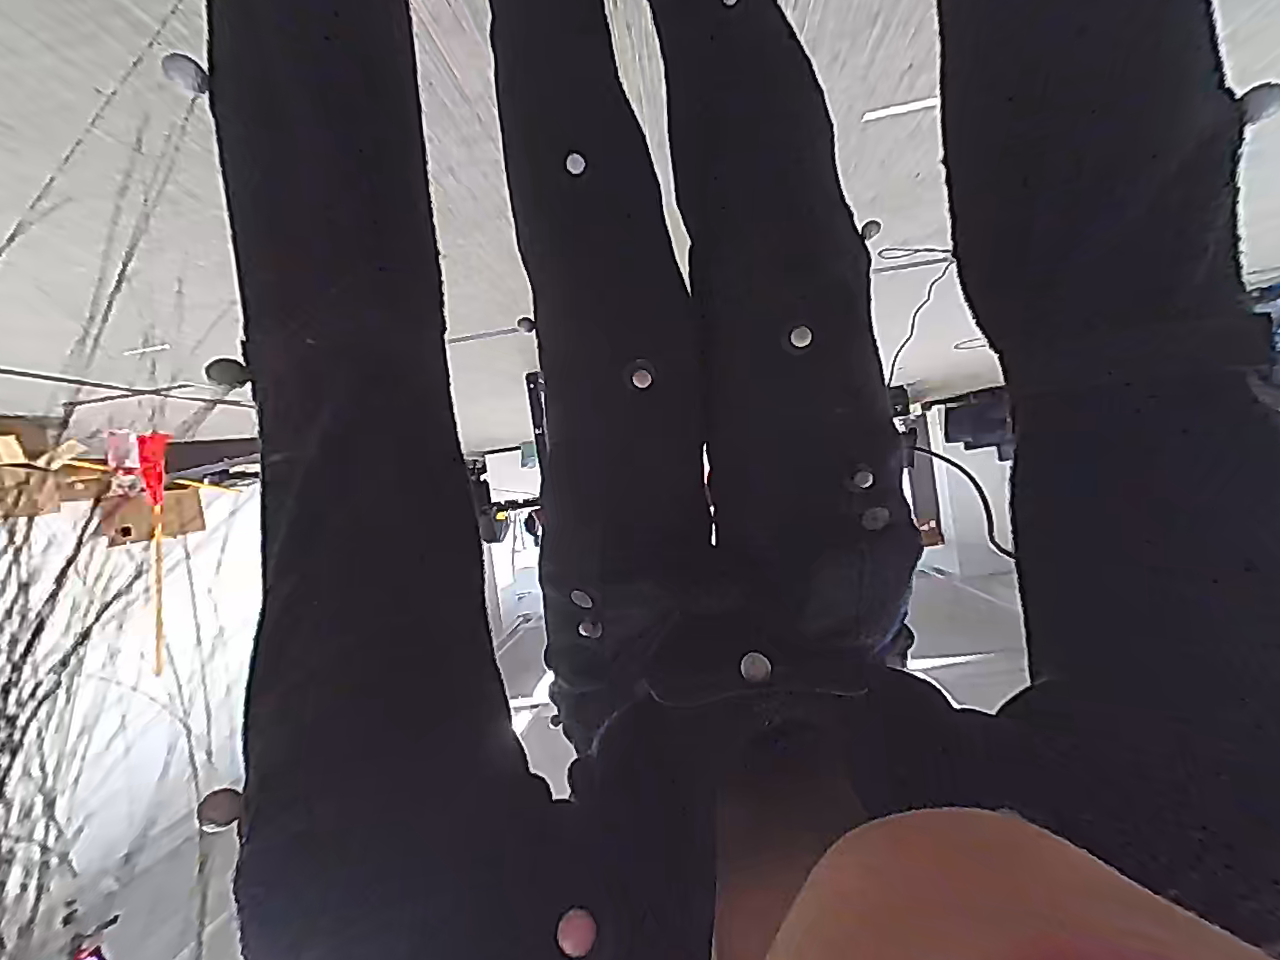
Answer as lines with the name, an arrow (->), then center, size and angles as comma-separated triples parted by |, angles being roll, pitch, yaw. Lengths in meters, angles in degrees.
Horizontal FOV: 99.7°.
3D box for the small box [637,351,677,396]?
small box -> 0.079, -0.499, 2.520 | 0.168, 0.176, 0.179 | -7, -179, 3
